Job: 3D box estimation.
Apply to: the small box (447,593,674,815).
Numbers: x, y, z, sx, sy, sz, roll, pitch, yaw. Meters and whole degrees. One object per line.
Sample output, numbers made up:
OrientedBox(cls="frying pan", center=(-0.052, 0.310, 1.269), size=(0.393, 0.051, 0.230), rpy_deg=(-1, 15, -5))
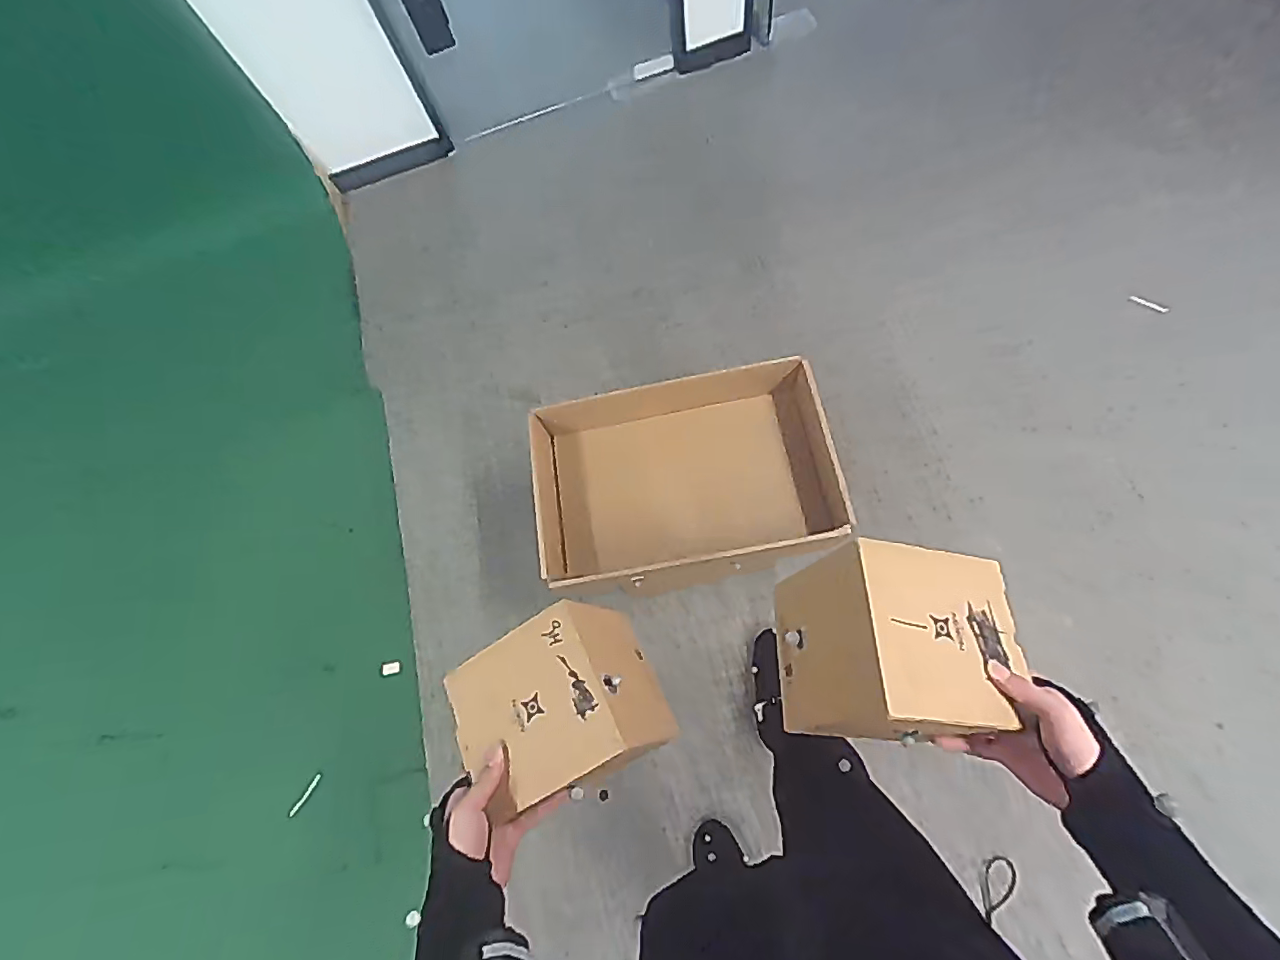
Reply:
OrientedBox(cls="small box", center=(-0.088, 0.257, 0.634), size=(0.179, 0.176, 0.168), rpy_deg=(-34, 61, 10))

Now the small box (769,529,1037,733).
OrientedBox(cls="small box", center=(0.260, 0.170, 0.577), size=(0.179, 0.176, 0.168), rpy_deg=(10, 59, -13))
